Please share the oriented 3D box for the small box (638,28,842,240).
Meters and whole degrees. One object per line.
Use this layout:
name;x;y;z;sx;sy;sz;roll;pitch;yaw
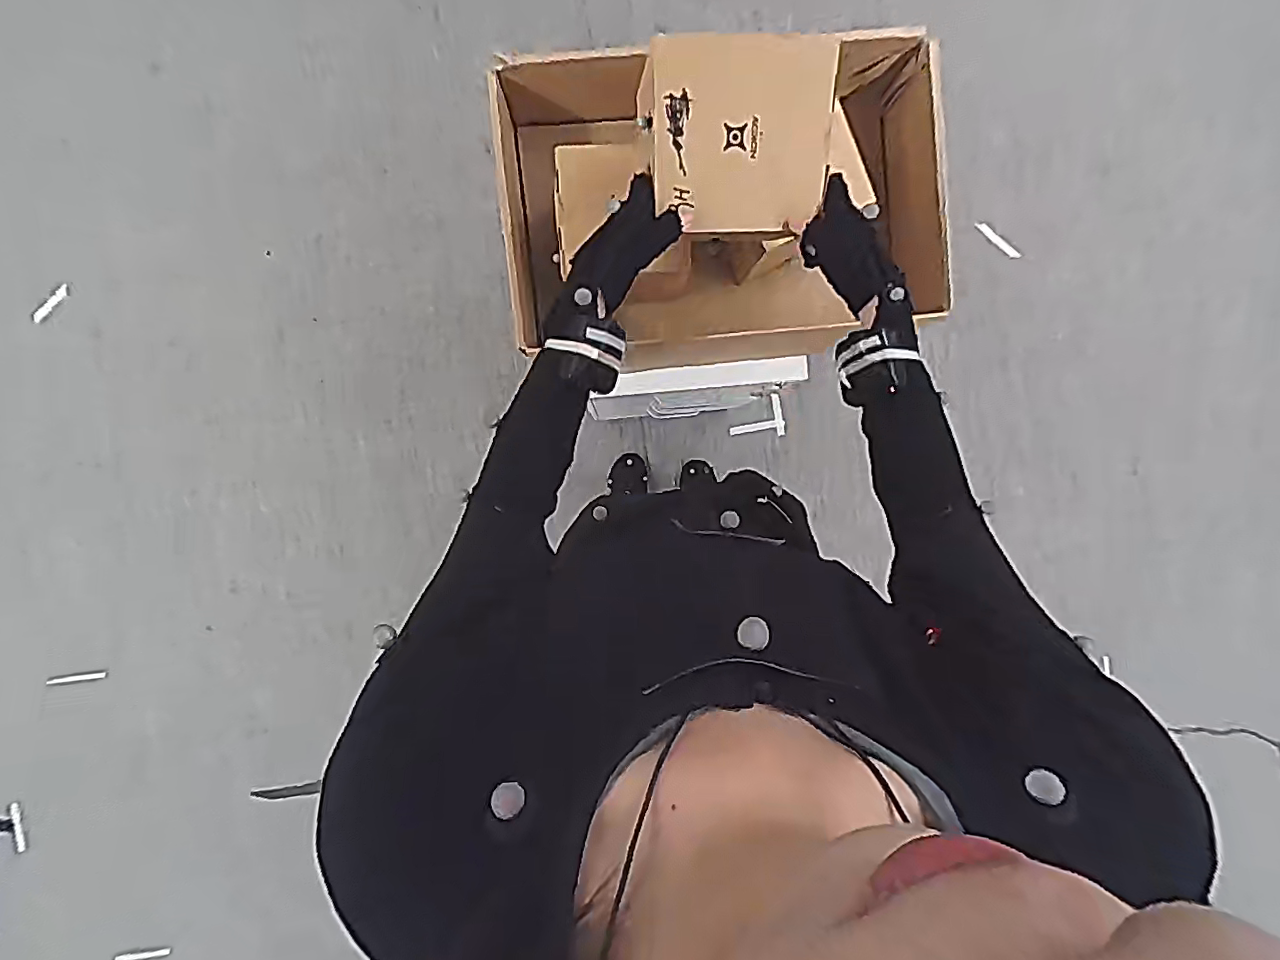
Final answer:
small box;0.095;-0.361;0.596;0.179;0.176;0.168;-3;111;-5
